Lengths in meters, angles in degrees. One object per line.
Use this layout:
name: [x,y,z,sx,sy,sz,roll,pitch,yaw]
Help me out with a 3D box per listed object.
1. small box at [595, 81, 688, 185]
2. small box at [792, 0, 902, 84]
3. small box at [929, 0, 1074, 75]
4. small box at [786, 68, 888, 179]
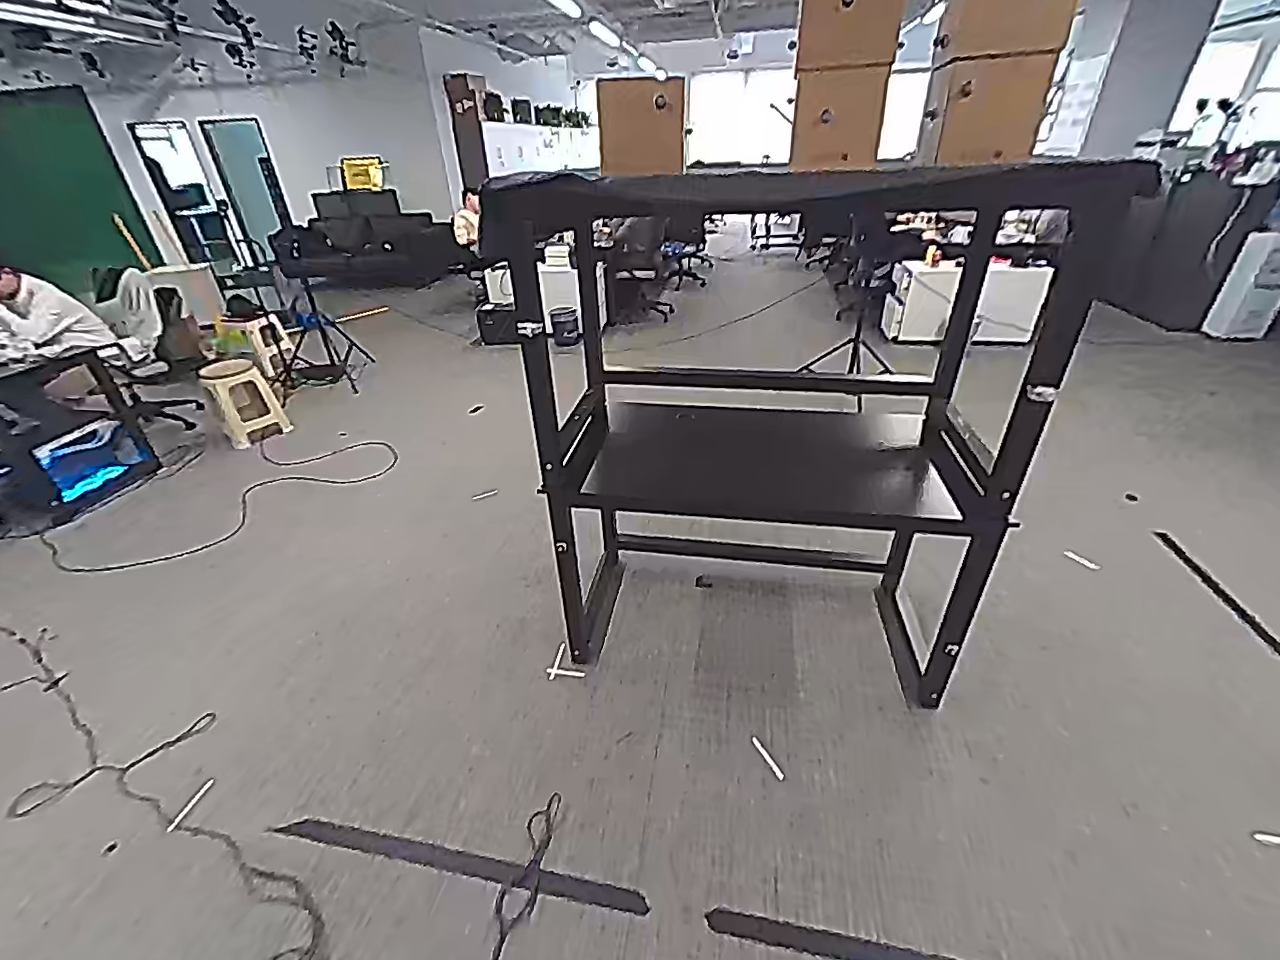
small box: [0.010,-0.725,1.139,0.179,0.176,0.168,1,30,6]
small box: [0.381,-0.849,1.004,0.179,0.176,0.168,4,30,14]
small box: [0.635,-0.826,0.946,0.179,0.176,0.168,3,29,11]
small box: [0.391,-0.712,1.094,0.168,0.176,0.179,5,31,12]
